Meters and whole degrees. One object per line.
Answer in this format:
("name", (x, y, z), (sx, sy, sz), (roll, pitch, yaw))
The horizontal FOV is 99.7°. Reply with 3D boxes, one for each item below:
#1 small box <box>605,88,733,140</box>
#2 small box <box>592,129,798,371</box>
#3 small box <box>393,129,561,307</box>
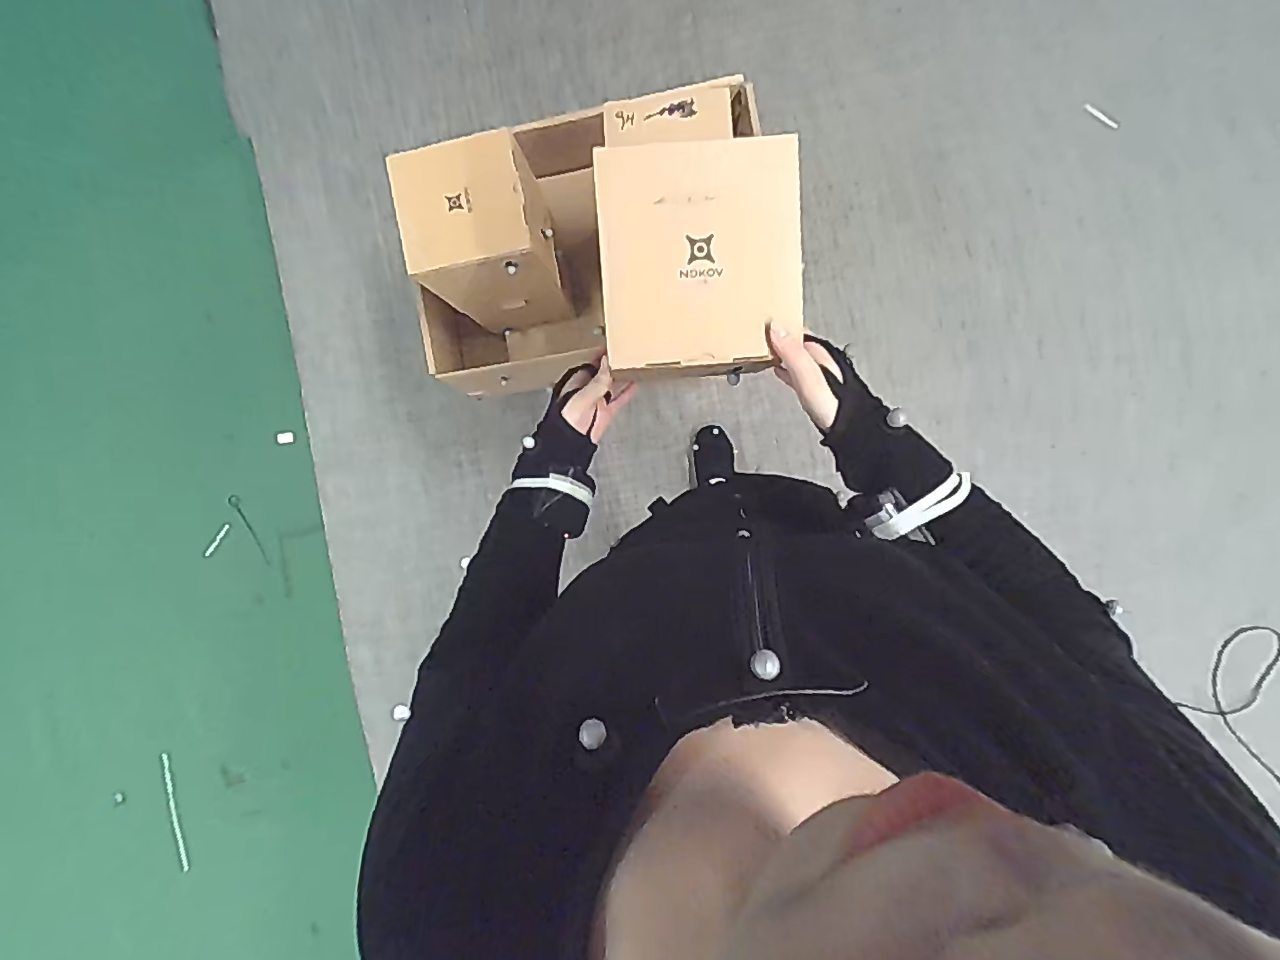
("small box", (0.048, -0.409, 0.775), (0.168, 0.176, 0.179), (-3, 91, 6))
("small box", (0.048, -0.199, 0.519), (0.168, 0.176, 0.179), (-3, 96, 1))
("small box", (-0.231, -0.374, 0.805), (0.179, 0.176, 0.168), (-10, 90, 5))
